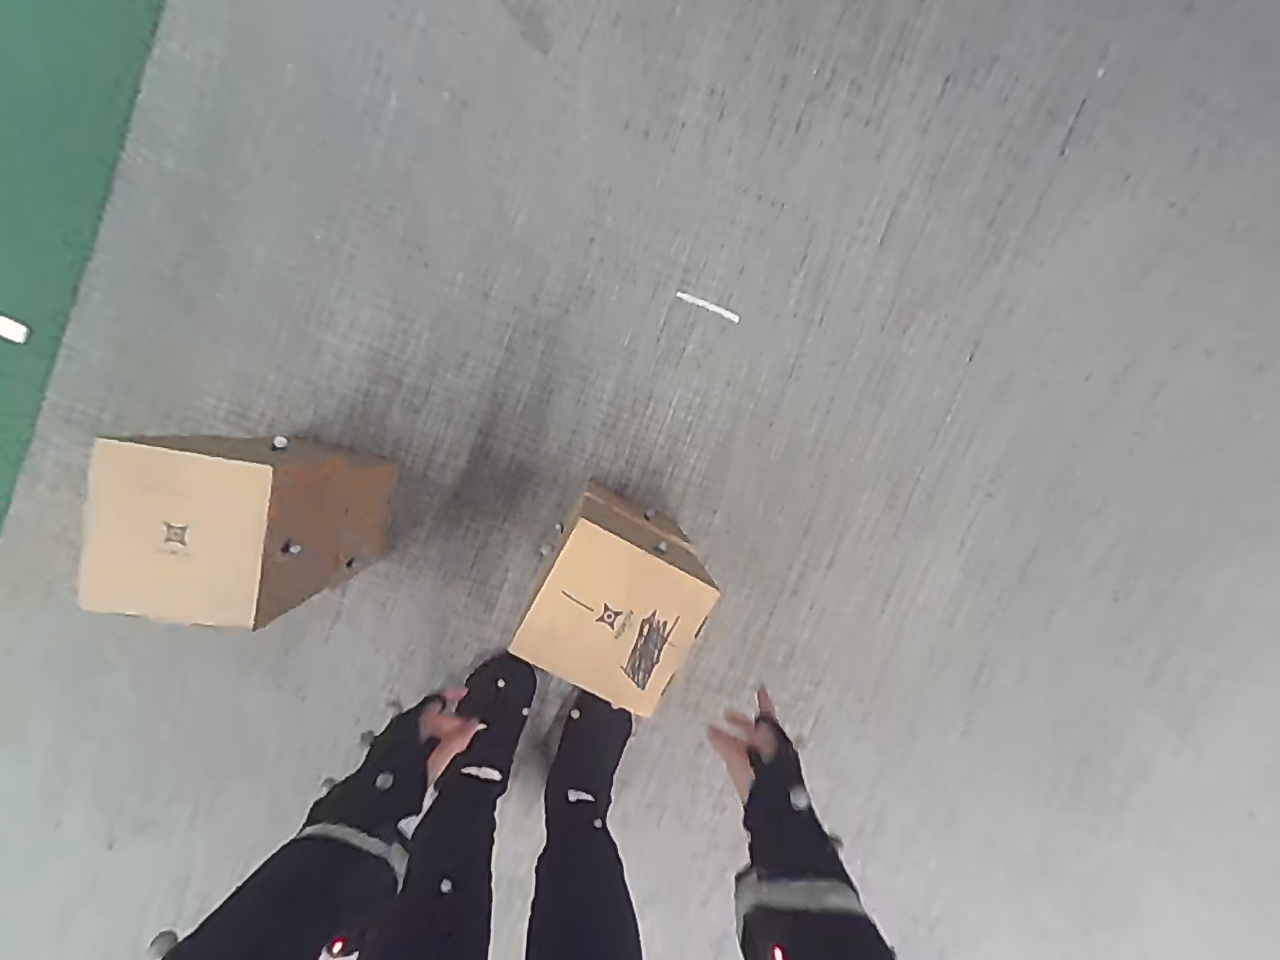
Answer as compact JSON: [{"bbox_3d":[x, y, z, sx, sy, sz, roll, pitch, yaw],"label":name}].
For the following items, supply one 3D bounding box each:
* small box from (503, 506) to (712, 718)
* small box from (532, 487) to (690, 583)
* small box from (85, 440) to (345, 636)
[{"bbox_3d":[-0.039,0.145,0.663,0.179,0.176,0.168,29,93,-6],"label":"small box"},{"bbox_3d":[-0.049,0.122,0.826,0.179,0.176,0.168,28,92,-7],"label":"small box"},{"bbox_3d":[-0.465,0.055,0.619,0.168,0.176,0.179,10,94,-6],"label":"small box"}]
